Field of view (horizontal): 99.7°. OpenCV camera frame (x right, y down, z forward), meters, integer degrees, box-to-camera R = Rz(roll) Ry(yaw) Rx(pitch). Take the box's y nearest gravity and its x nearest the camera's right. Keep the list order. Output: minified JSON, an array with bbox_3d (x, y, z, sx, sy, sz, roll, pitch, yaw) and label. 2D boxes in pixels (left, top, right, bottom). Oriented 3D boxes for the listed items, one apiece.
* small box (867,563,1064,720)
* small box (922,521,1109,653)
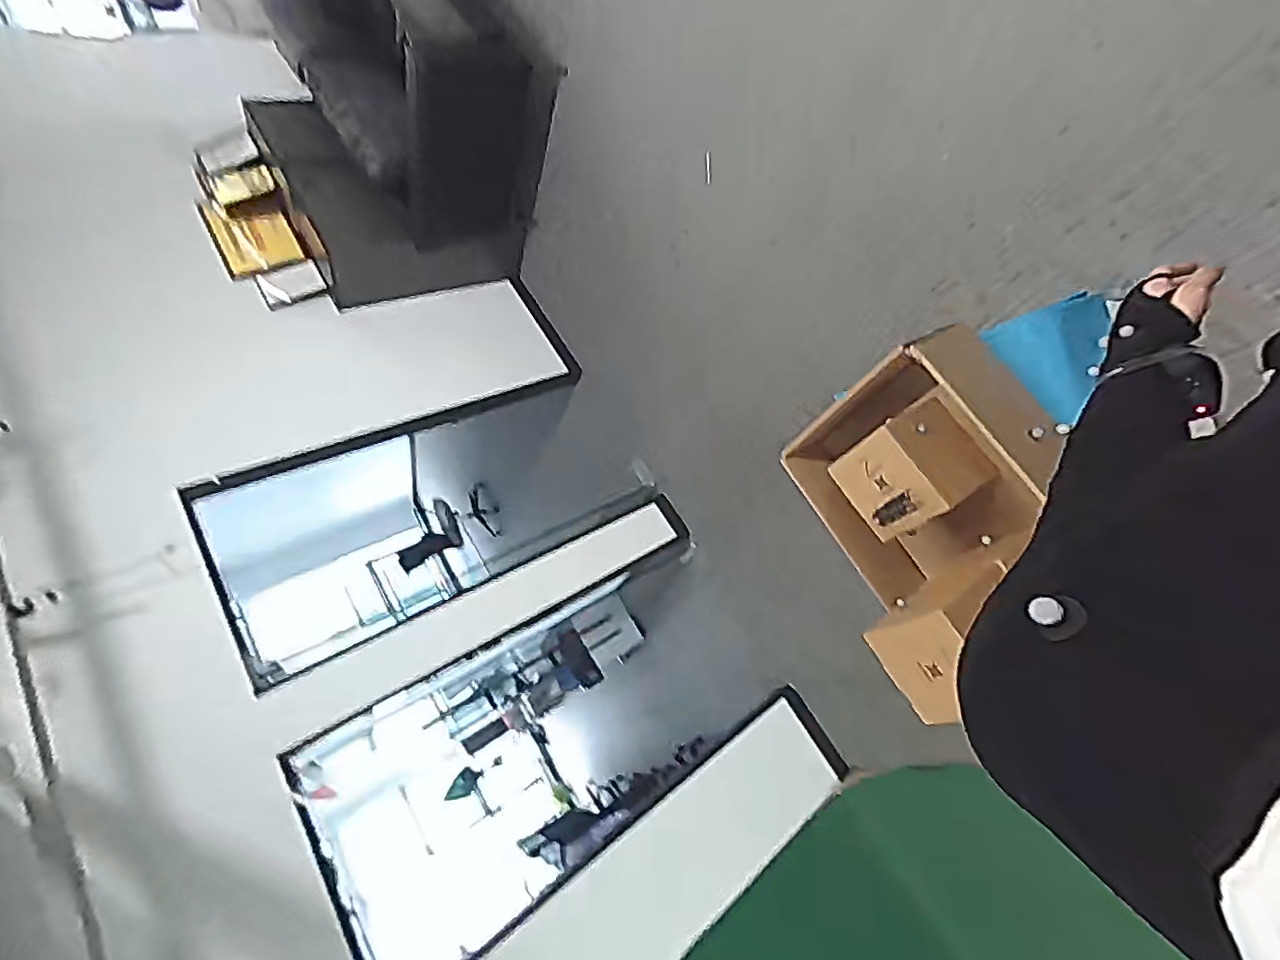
[{"bbox_3d":[0.515,0.259,0.864,0.168,0.176,0.179,58,150,15],"label":"small box"},{"bbox_3d":[0.646,0.196,0.938,0.168,0.176,0.179,58,151,14],"label":"small box"}]
